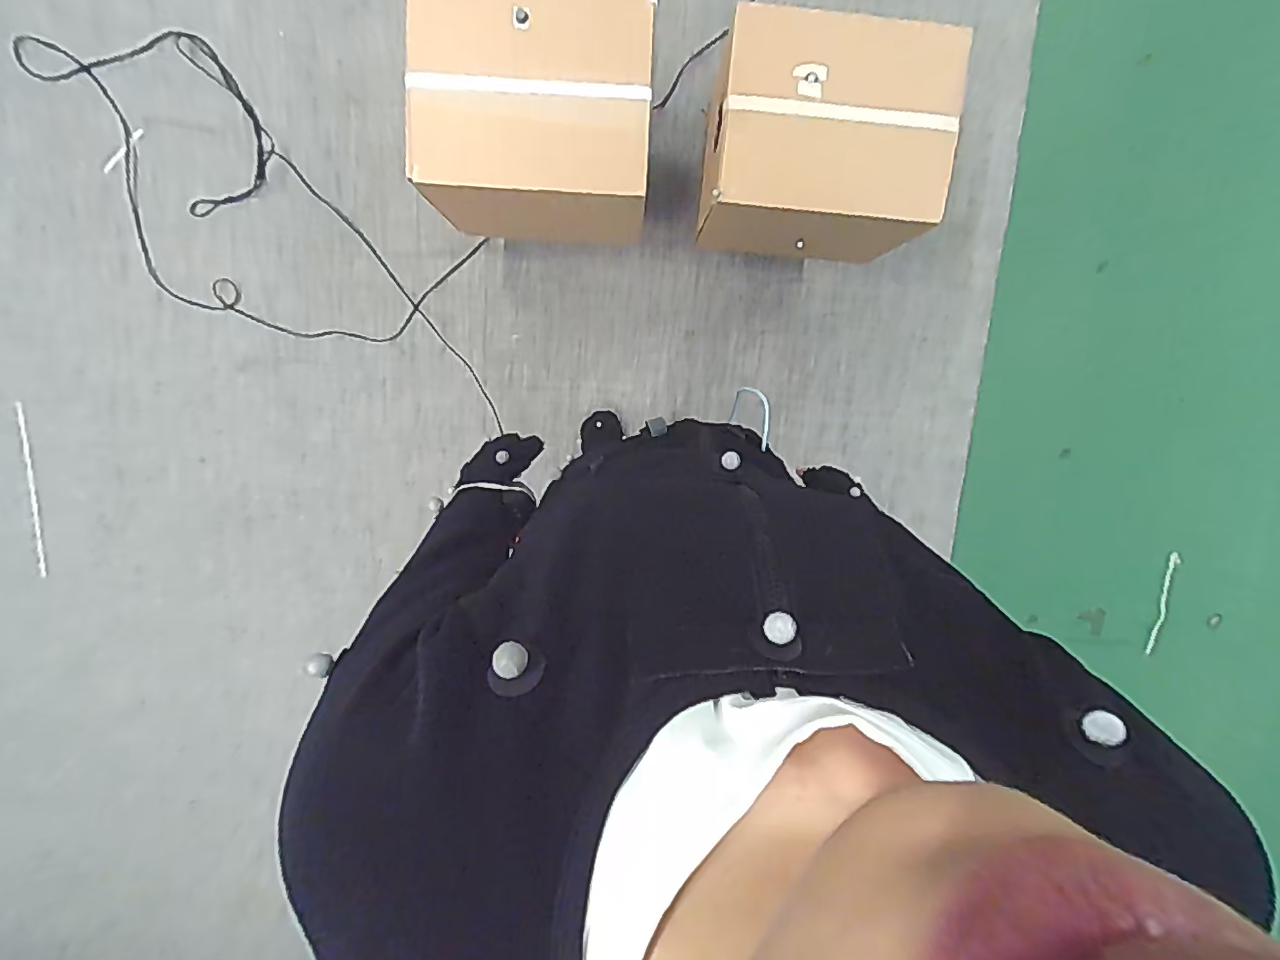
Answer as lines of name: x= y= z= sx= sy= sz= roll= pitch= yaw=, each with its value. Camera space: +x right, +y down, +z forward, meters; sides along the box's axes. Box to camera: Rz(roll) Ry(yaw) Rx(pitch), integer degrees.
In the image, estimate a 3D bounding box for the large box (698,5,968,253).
large box: x=0.346 y=-0.658 z=1.079 sx=0.408 sy=0.320 sz=0.320 roll=5 pitch=99 yaw=-2
